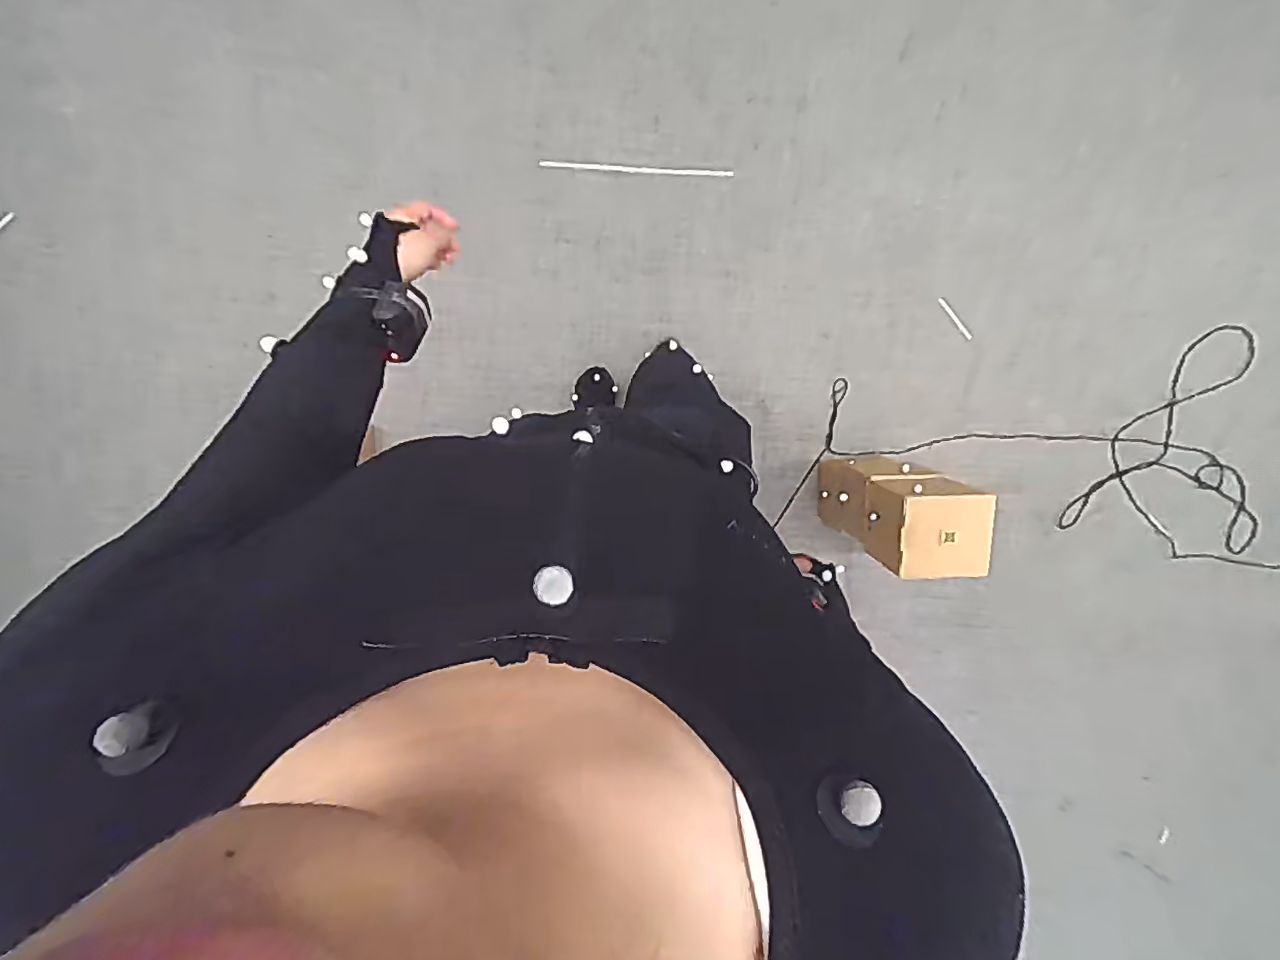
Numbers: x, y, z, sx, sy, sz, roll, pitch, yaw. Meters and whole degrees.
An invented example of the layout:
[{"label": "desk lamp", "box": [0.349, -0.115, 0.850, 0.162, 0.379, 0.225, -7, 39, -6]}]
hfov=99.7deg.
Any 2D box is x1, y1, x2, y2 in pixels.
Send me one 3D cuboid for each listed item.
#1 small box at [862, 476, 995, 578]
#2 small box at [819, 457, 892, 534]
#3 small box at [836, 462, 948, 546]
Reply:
[{"label": "small box", "box": [0.578, 0.089, 1.102, 0.179, 0.176, 0.168, -2, 101, 0]}, {"label": "small box", "box": [0.580, 0.036, 1.424, 0.179, 0.176, 0.168, -5, 102, -1]}, {"label": "small box", "box": [0.579, 0.051, 1.260, 0.179, 0.176, 0.168, -1, 101, 0]}]
